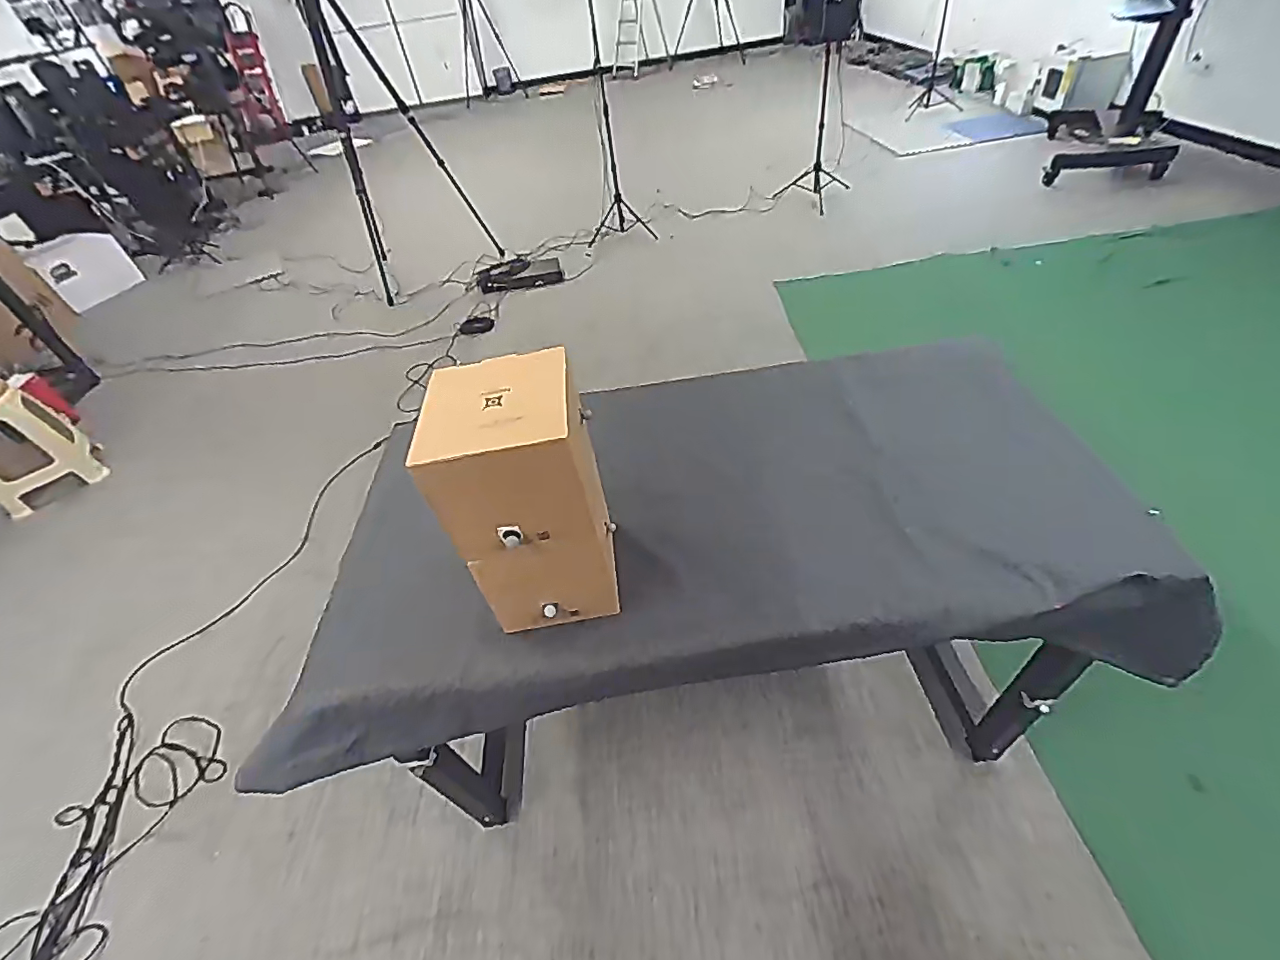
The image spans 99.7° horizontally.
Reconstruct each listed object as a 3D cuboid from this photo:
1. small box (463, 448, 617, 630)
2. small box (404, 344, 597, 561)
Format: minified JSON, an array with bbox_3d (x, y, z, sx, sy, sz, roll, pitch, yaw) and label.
[{"bbox_3d":[-0.130,0.081,0.755,0.168,0.176,0.179,-10,45,0],"label":"small box"},{"bbox_3d":[-0.150,-0.032,0.640,0.168,0.176,0.179,-11,46,0],"label":"small box"}]
